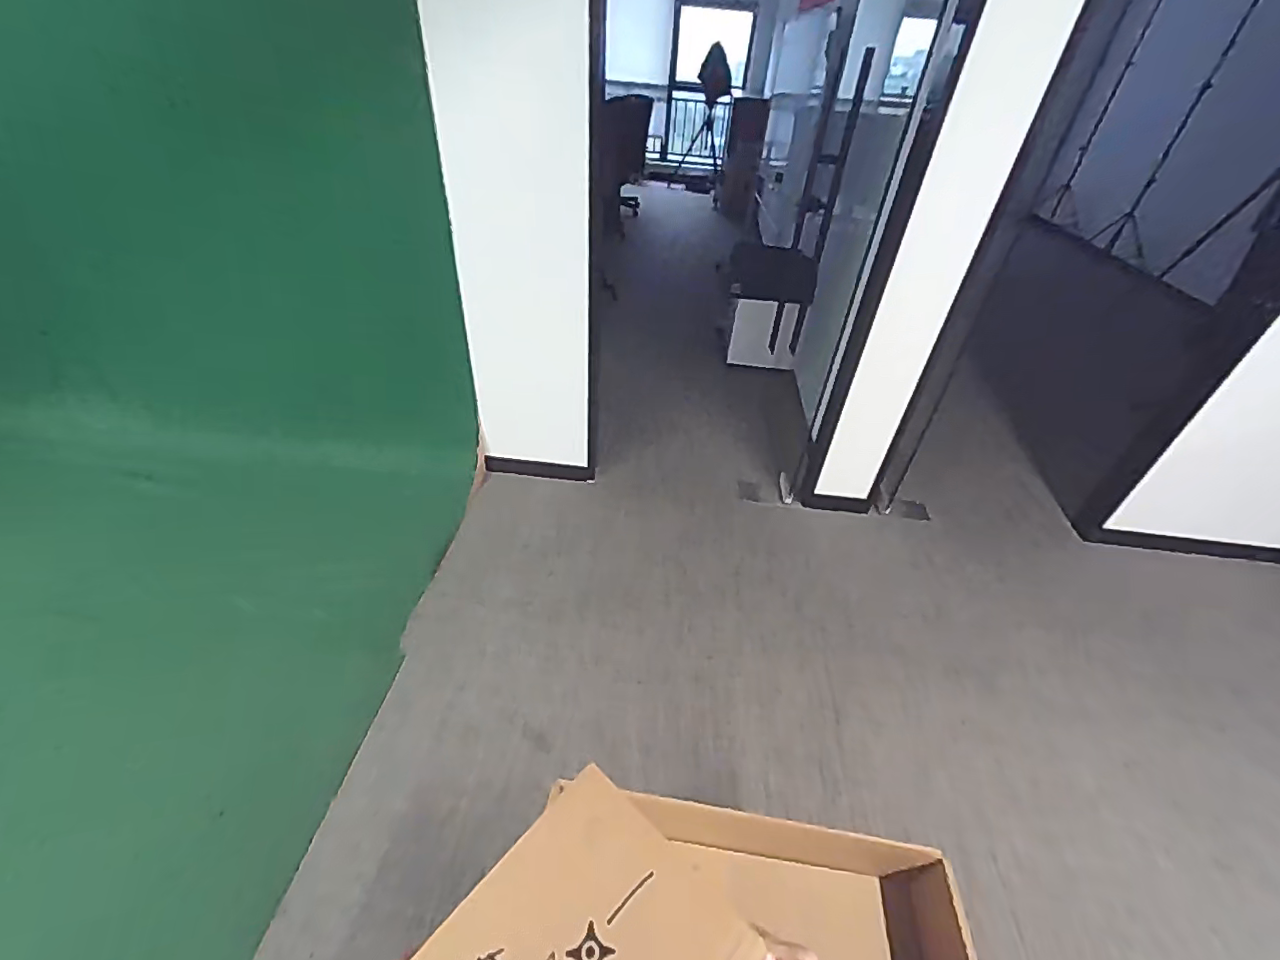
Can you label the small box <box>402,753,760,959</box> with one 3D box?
[{"bbox_3d":[-0.028,0.351,0.391,0.168,0.176,0.179,30,55,34],"label":"small box"}]
